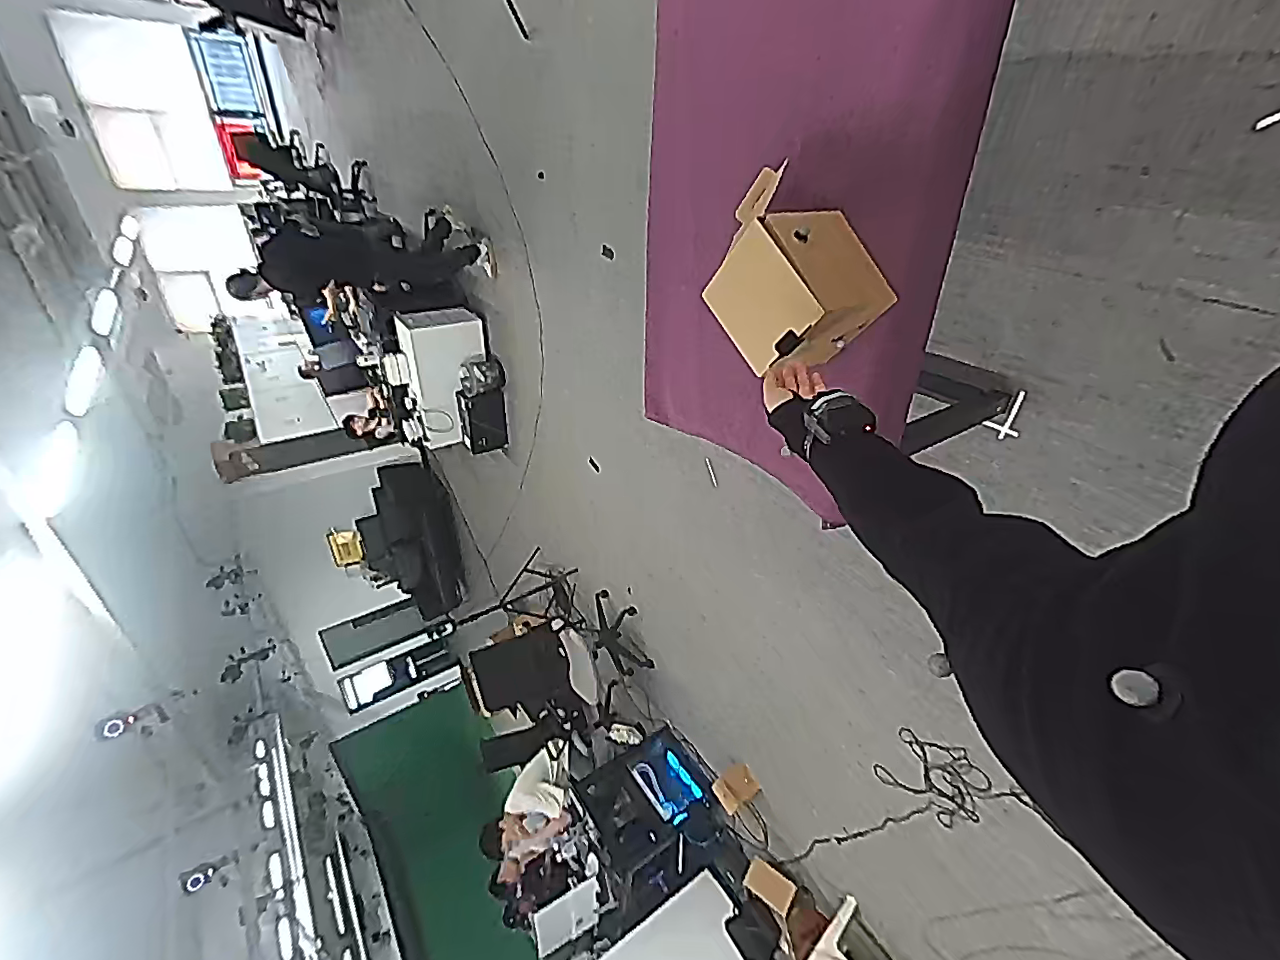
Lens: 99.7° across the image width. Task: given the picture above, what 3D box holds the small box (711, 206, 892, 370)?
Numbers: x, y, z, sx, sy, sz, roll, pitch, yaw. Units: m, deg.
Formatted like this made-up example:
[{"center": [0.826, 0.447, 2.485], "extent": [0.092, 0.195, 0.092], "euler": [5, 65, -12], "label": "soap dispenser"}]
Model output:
[{"center": [0.248, -0.299, 0.848], "extent": [0.179, 0.176, 0.168], "euler": [65, 151, 12], "label": "small box"}]
